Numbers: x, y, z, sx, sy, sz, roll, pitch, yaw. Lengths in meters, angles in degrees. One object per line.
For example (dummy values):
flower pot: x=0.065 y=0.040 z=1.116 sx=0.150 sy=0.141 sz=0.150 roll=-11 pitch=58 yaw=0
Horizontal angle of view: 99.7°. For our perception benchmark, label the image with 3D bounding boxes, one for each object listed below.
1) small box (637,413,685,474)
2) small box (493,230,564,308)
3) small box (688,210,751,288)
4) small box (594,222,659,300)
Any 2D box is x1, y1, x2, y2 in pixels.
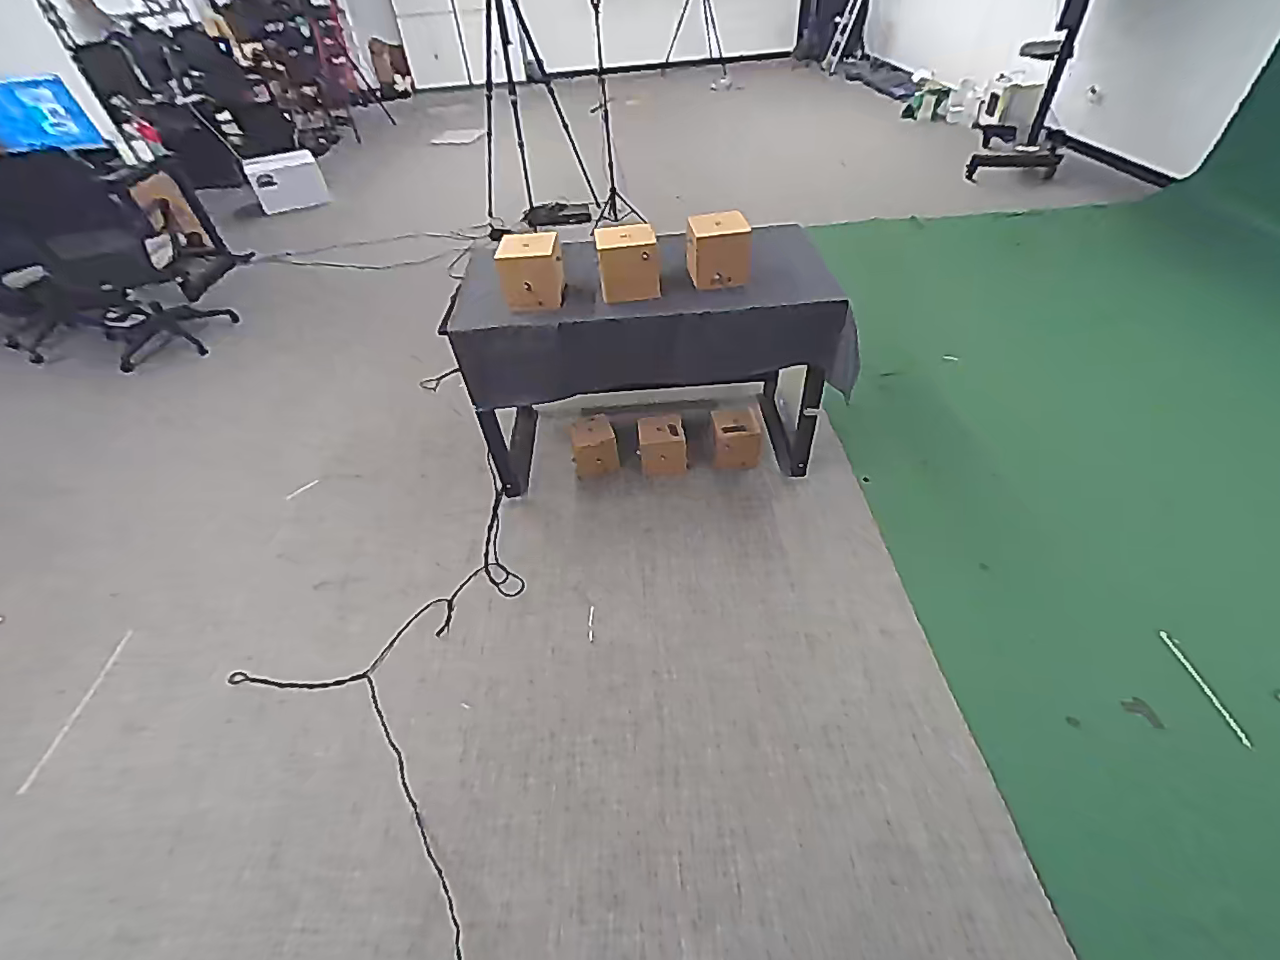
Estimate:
small box: x=0.084 y=-0.141 z=2.137 sx=0.179 sy=0.176 sz=0.168 roll=-6 pitch=44 yaw=0
small box: x=-0.329 y=-0.633 z=1.635 sx=0.168 sy=0.176 sz=0.179 roll=-2 pitch=45 yaw=2
small box: x=0.237 y=-0.709 z=1.663 sx=0.168 sy=0.176 sz=0.179 roll=-7 pitch=45 yaw=0
small box: x=-0.041 y=-0.660 z=1.640 sx=0.179 sy=0.176 sz=0.168 roll=-7 pitch=45 yaw=-3
